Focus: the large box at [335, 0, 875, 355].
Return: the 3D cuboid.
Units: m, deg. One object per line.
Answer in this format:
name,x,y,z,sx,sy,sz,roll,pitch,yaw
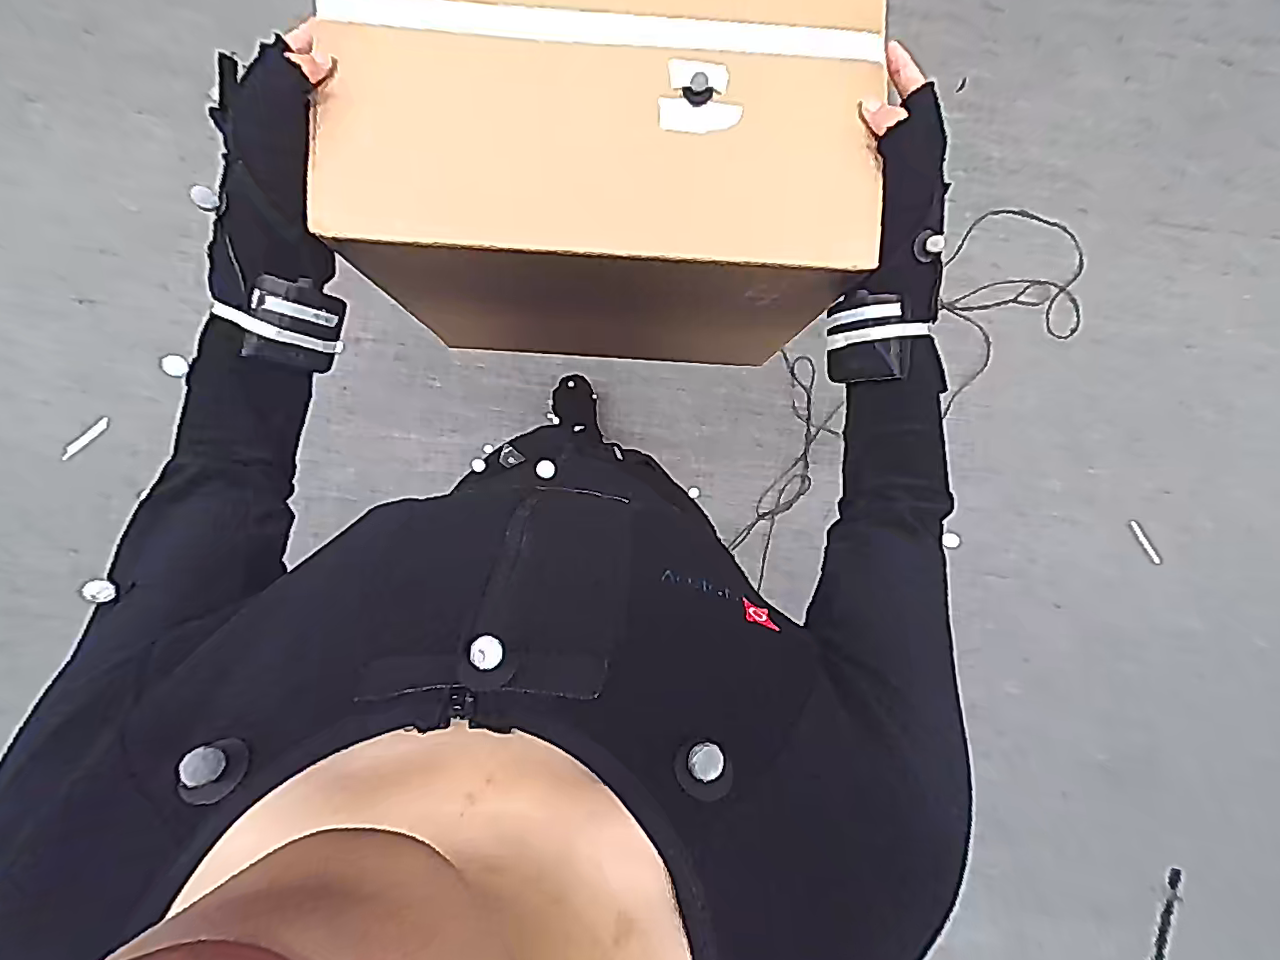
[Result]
large box,-0.028,-0.323,0.553,0.408,0.320,0.320,2,89,-2
